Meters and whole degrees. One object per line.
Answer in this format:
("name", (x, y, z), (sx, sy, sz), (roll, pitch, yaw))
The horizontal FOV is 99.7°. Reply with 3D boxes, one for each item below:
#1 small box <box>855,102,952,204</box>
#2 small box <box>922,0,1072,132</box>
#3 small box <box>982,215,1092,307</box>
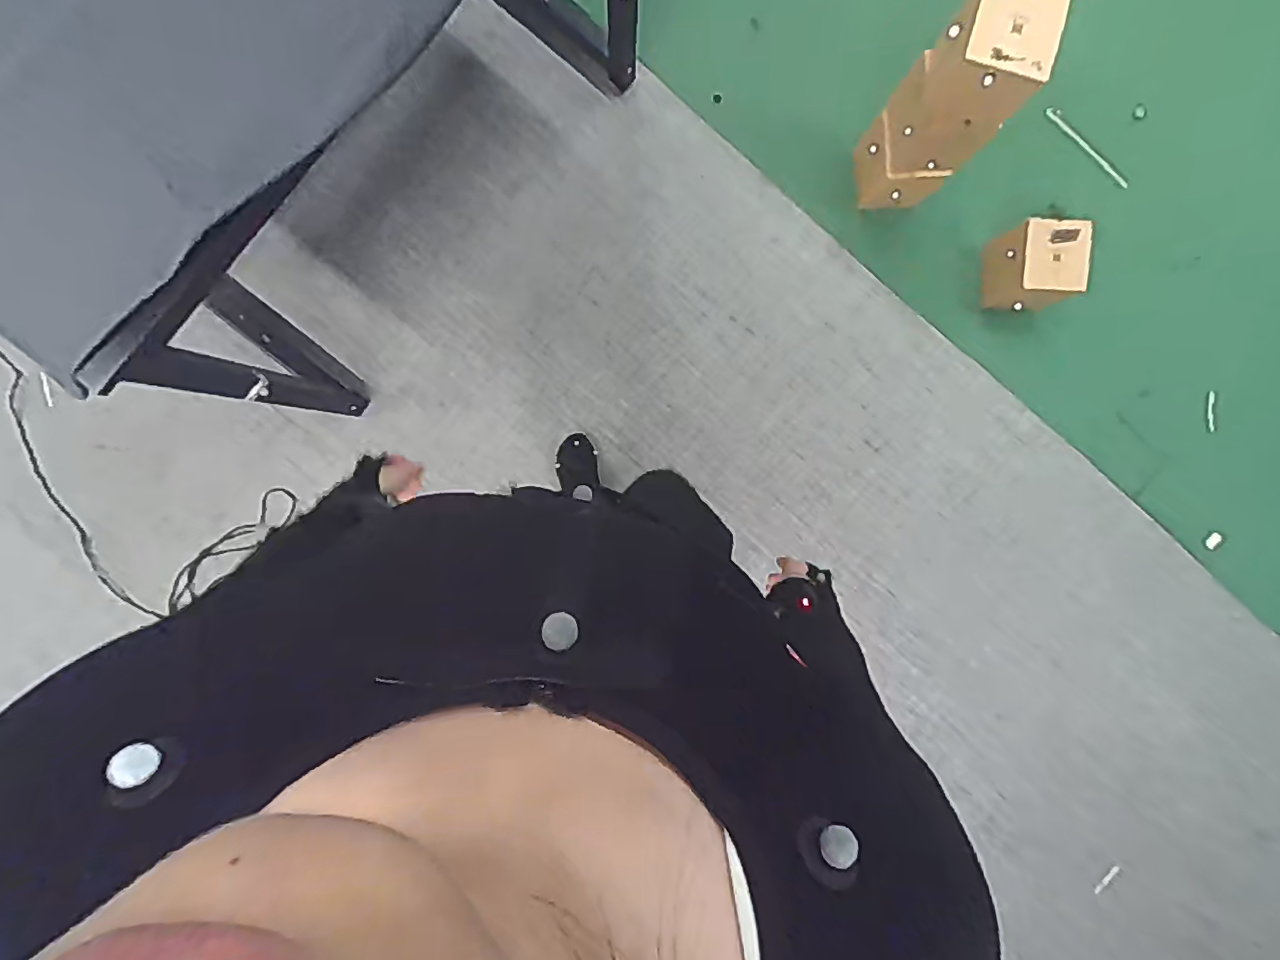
("small box", (0.672, -0.832, 1.392), (0.168, 0.176, 0.179), (-5, 92, -2))
("small box", (0.689, -0.838, 1.063), (0.168, 0.176, 0.179), (15, 92, -2))
("small box", (1.029, -0.566, 1.414), (0.168, 0.176, 0.179), (2, 93, -2))
